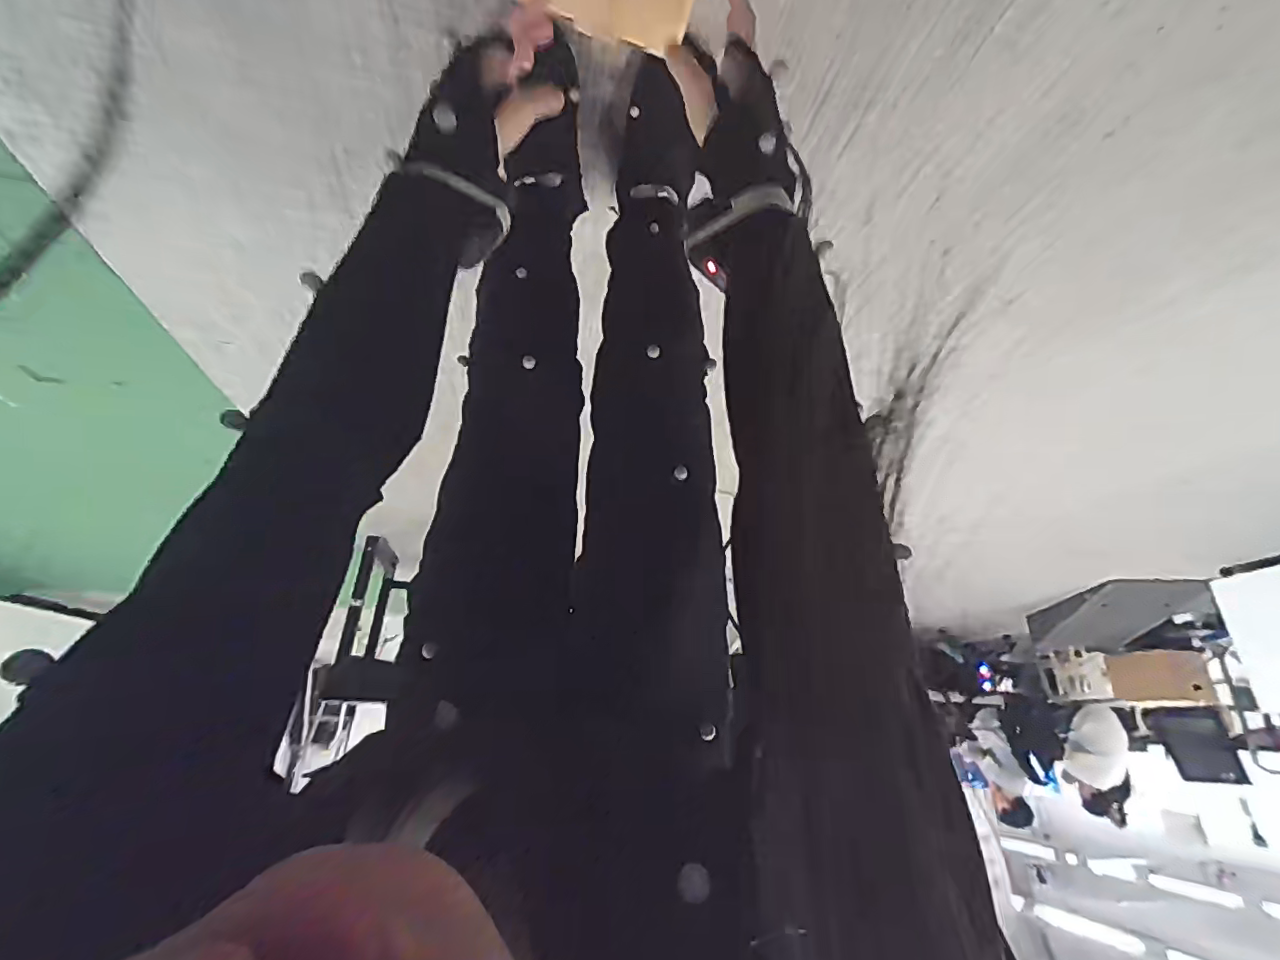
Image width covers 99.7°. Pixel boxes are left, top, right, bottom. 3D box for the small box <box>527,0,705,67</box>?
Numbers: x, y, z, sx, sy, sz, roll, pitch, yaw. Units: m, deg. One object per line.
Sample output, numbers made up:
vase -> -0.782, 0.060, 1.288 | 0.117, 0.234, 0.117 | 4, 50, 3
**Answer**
small box -> -0.005, -0.551, 0.503 | 0.168, 0.176, 0.179 | 10, 154, -16
